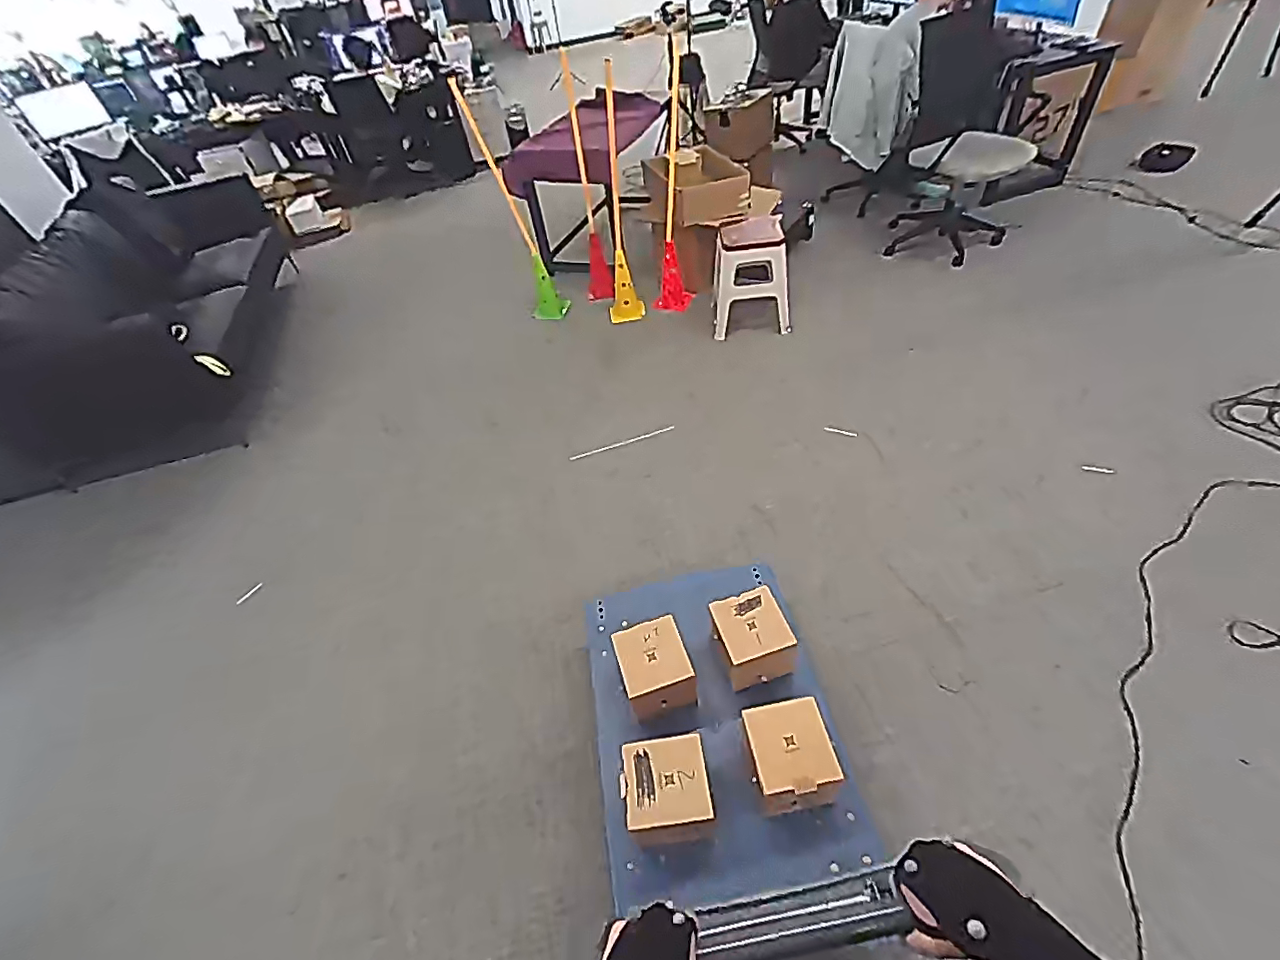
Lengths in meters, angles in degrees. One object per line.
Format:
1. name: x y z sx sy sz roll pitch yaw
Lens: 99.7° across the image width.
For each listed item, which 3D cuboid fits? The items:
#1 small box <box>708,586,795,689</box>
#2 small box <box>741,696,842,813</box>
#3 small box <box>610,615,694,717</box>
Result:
1. small box: 0.283 0.410 1.402 0.168 0.176 0.179 -17 47 -5
2. small box: 0.326 0.612 1.205 0.168 0.176 0.179 -11 46 -1
3. small box: 0.034 0.480 1.378 0.168 0.176 0.179 -16 46 -7
